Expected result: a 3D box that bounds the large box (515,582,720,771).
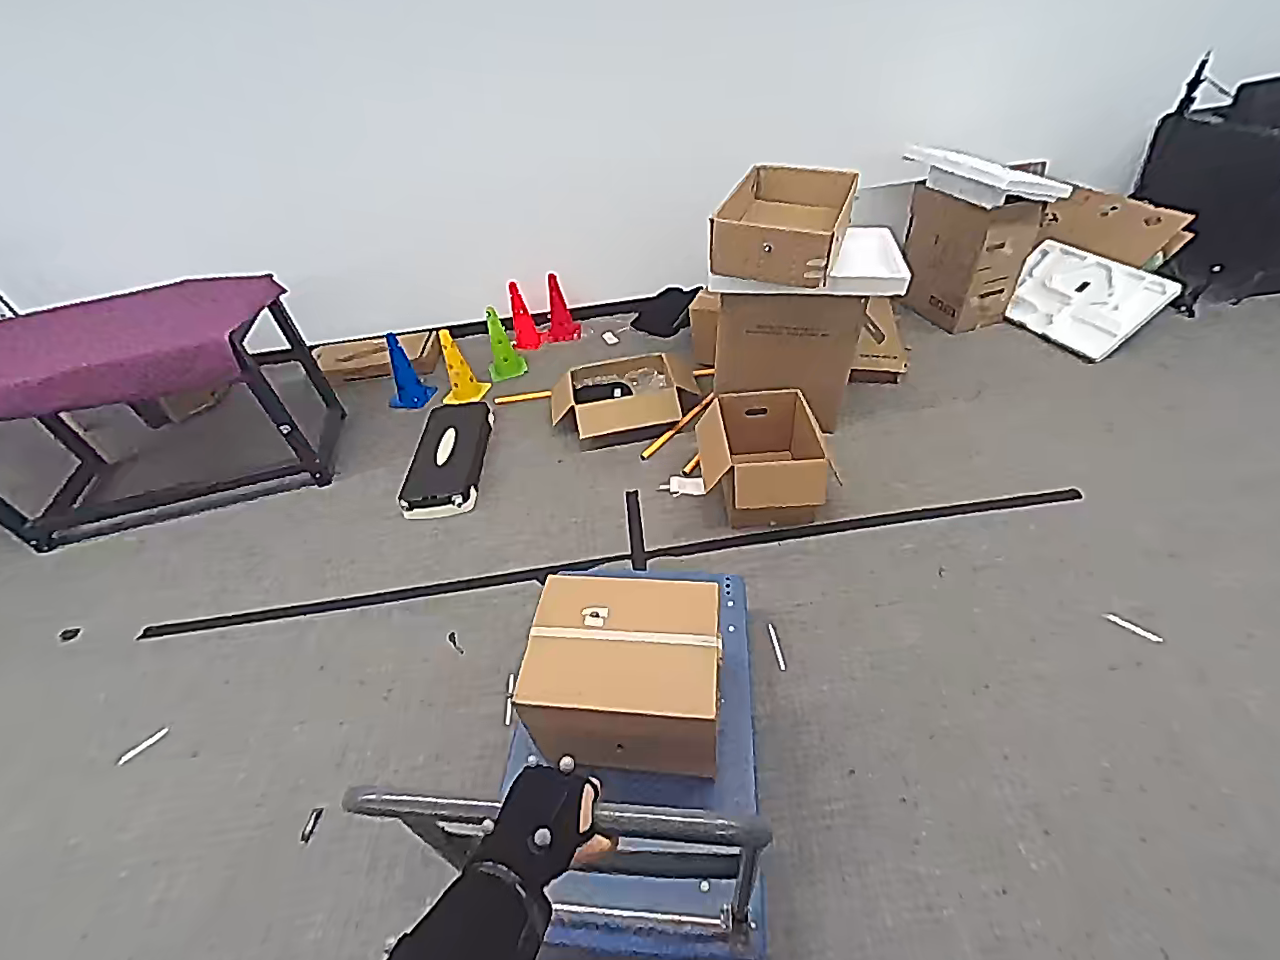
[{"bbox_3d":[-0.021,0.454,1.258,0.408,0.320,0.320,-1,42,9],"label":"large box"}]
